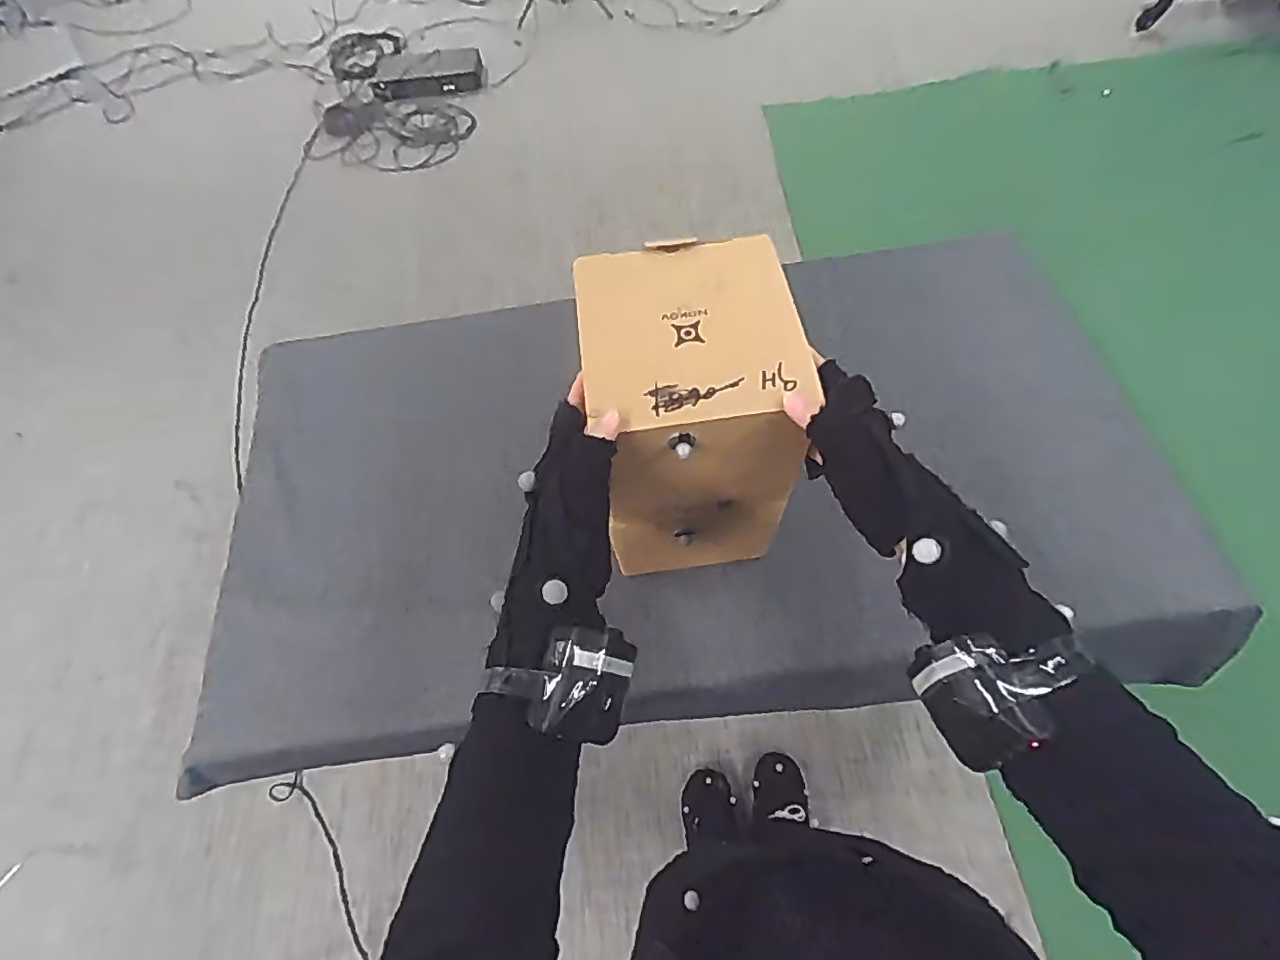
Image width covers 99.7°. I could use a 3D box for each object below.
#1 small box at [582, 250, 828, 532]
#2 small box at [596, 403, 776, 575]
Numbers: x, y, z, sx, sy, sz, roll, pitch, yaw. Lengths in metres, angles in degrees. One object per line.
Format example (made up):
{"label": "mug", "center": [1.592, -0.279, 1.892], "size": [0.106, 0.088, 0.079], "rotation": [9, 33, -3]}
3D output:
{"label": "small box", "center": [0.045, -0.073, 0.491], "size": [0.168, 0.176, 0.179], "rotation": [-10, 62, -2]}
{"label": "small box", "center": [0.052, 0.004, 0.638], "size": [0.179, 0.176, 0.168], "rotation": [-8, 63, 1]}
